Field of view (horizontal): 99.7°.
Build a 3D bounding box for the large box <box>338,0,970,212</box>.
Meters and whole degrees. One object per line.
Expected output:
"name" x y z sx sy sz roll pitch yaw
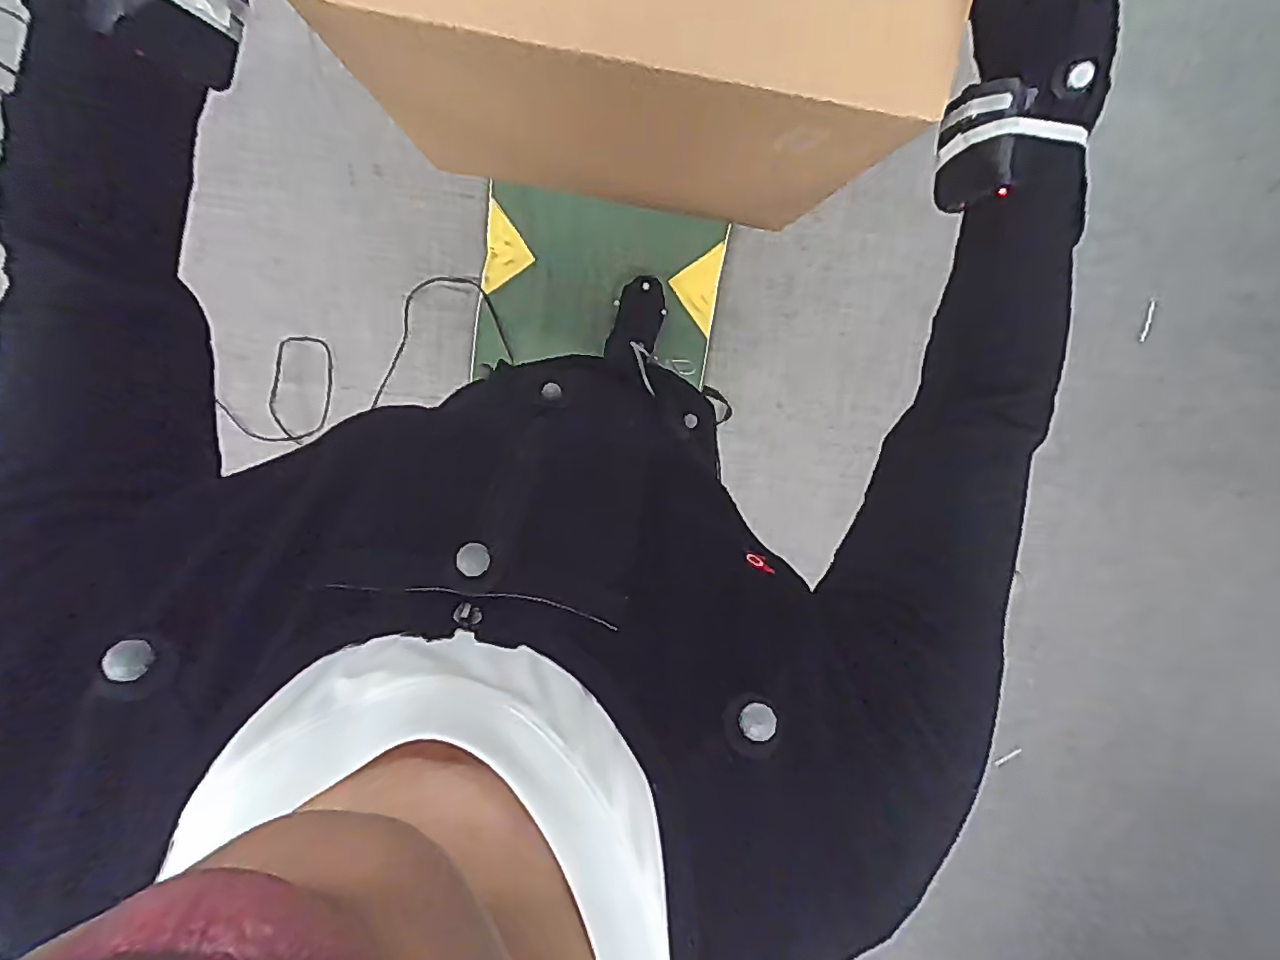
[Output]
"large box" 0.011 -0.448 0.445 0.408 0.320 0.320 6 104 -7
